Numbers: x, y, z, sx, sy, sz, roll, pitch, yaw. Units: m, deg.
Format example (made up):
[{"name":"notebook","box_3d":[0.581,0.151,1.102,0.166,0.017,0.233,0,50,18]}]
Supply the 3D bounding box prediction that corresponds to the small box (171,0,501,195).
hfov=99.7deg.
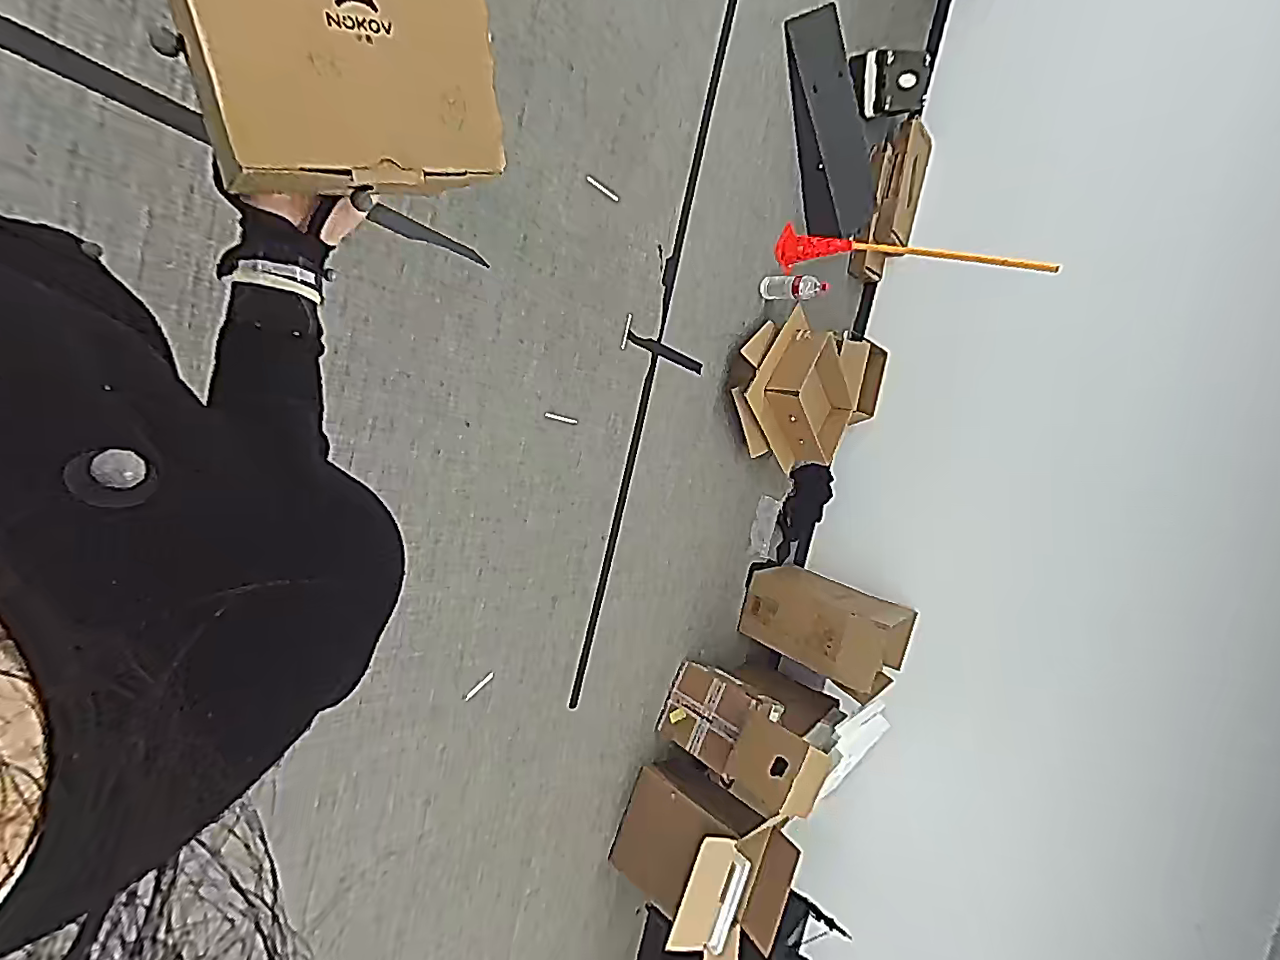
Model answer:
[{"name":"small box","box_3d":[-0.217,-0.303,0.382,0.168,0.176,0.179,-19,120,-33]}]
